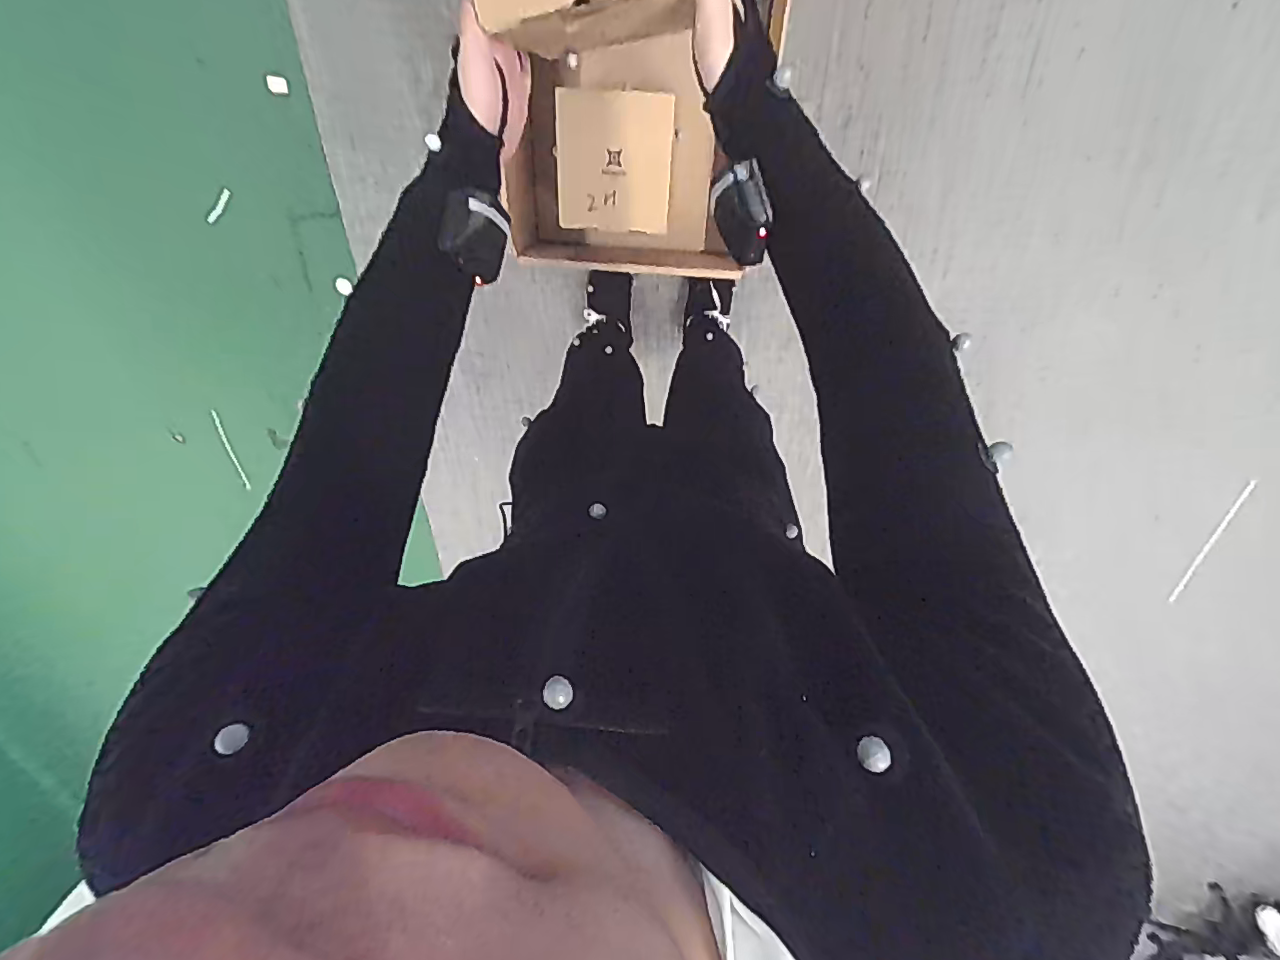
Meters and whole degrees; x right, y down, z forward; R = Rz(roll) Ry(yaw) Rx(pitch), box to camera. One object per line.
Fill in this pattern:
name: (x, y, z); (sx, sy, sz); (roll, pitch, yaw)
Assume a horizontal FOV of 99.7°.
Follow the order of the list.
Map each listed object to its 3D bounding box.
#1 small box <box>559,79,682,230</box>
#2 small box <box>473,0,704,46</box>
small box: (-0.026, -0.496, 0.830); (0.168, 0.176, 0.179); (6, 123, 4)
small box: (-0.042, -0.461, 0.416); (0.168, 0.176, 0.179); (-3, 121, 12)
